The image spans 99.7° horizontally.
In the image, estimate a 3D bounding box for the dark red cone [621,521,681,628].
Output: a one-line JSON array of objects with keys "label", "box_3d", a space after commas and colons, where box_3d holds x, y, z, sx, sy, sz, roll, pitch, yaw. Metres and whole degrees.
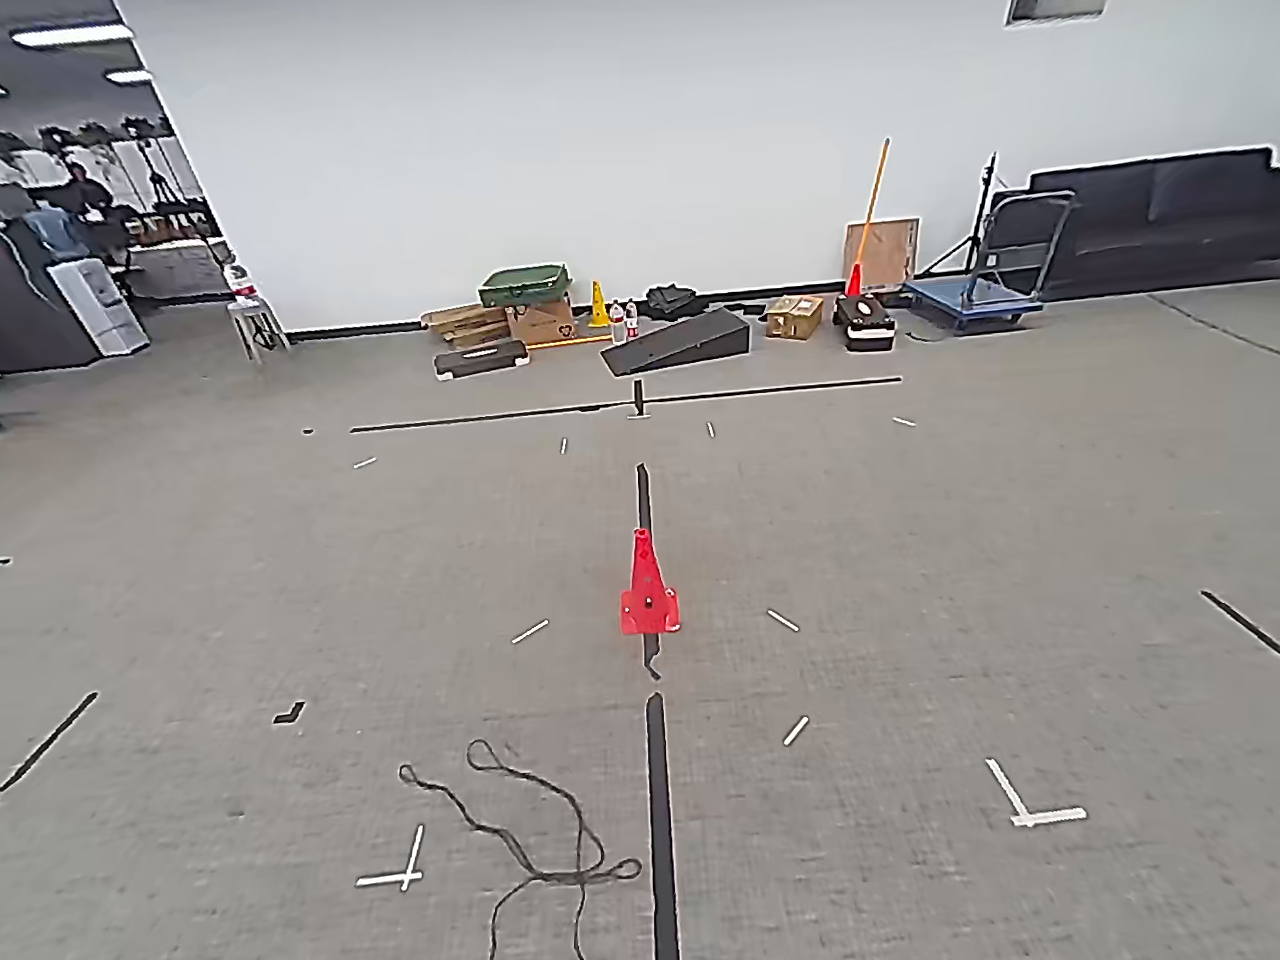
[{"label": "dark red cone", "box_3d": [0.018, 0.296, 1.781, 0.201, 0.394, 0.202, -6, 34, 1]}]
